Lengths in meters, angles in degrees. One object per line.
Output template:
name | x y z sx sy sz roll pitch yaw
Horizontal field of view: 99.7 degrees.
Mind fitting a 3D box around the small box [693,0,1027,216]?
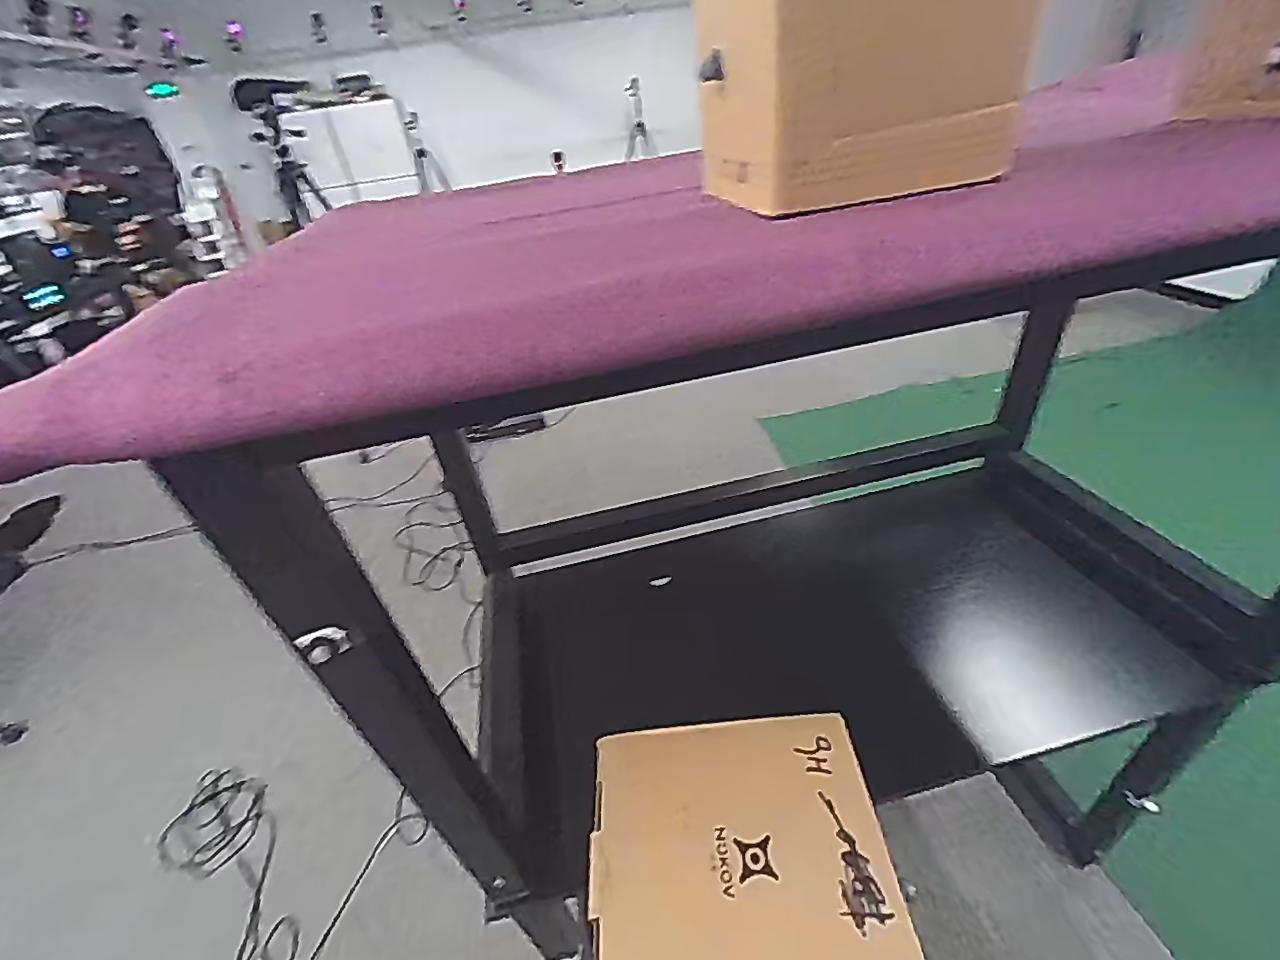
small box | 0.146 -0.300 0.390 0.179 0.176 0.168 -11 34 -5
